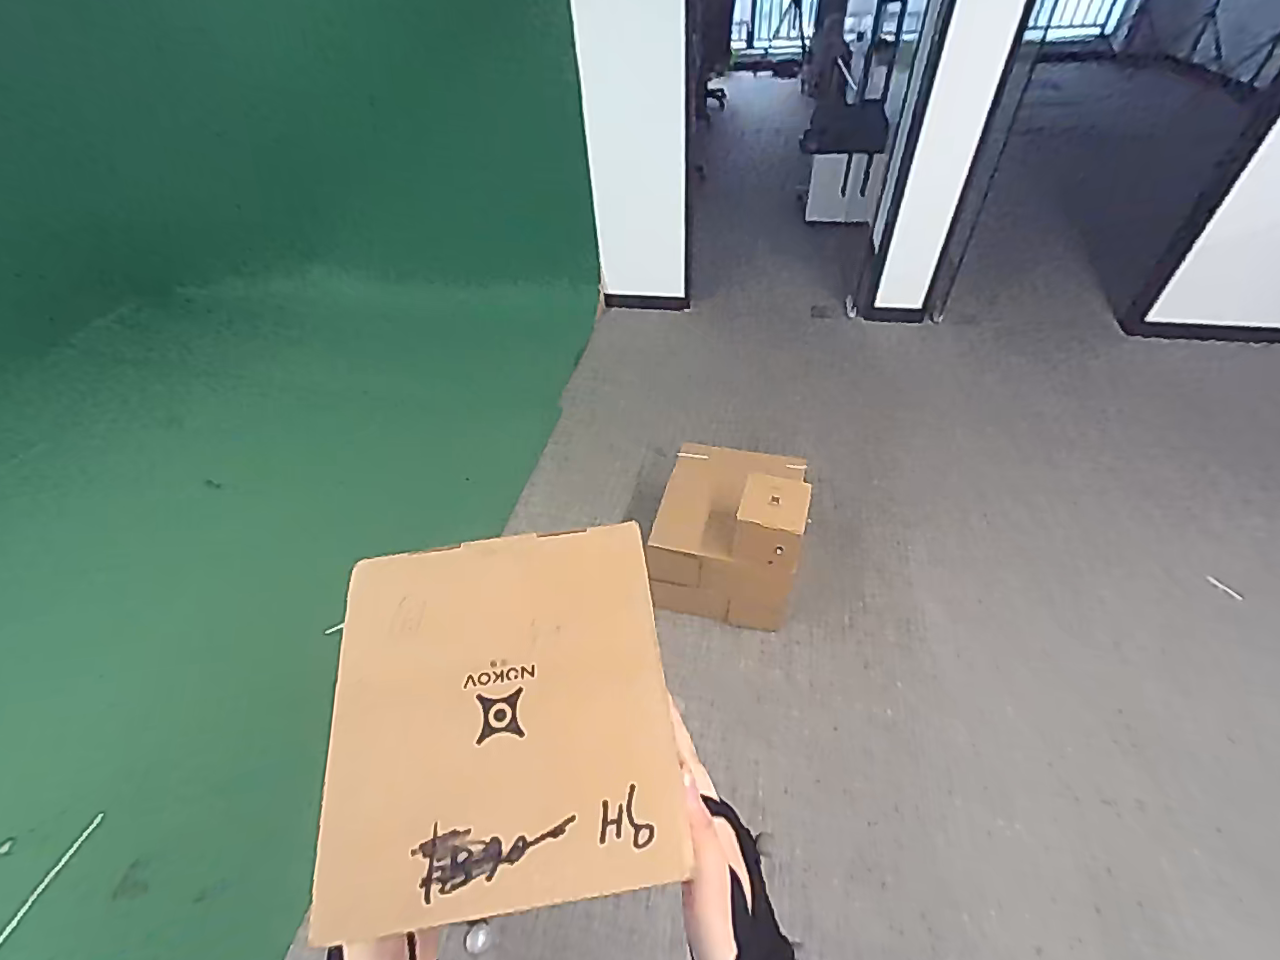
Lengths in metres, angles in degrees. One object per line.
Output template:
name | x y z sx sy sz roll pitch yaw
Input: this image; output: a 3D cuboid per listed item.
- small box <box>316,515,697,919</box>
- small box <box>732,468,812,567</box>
small box | -0.065 0.144 0.342 0.168 0.176 0.179 -7 59 -3
small box | 0.340 0.101 1.413 0.168 0.176 0.179 13 47 15
